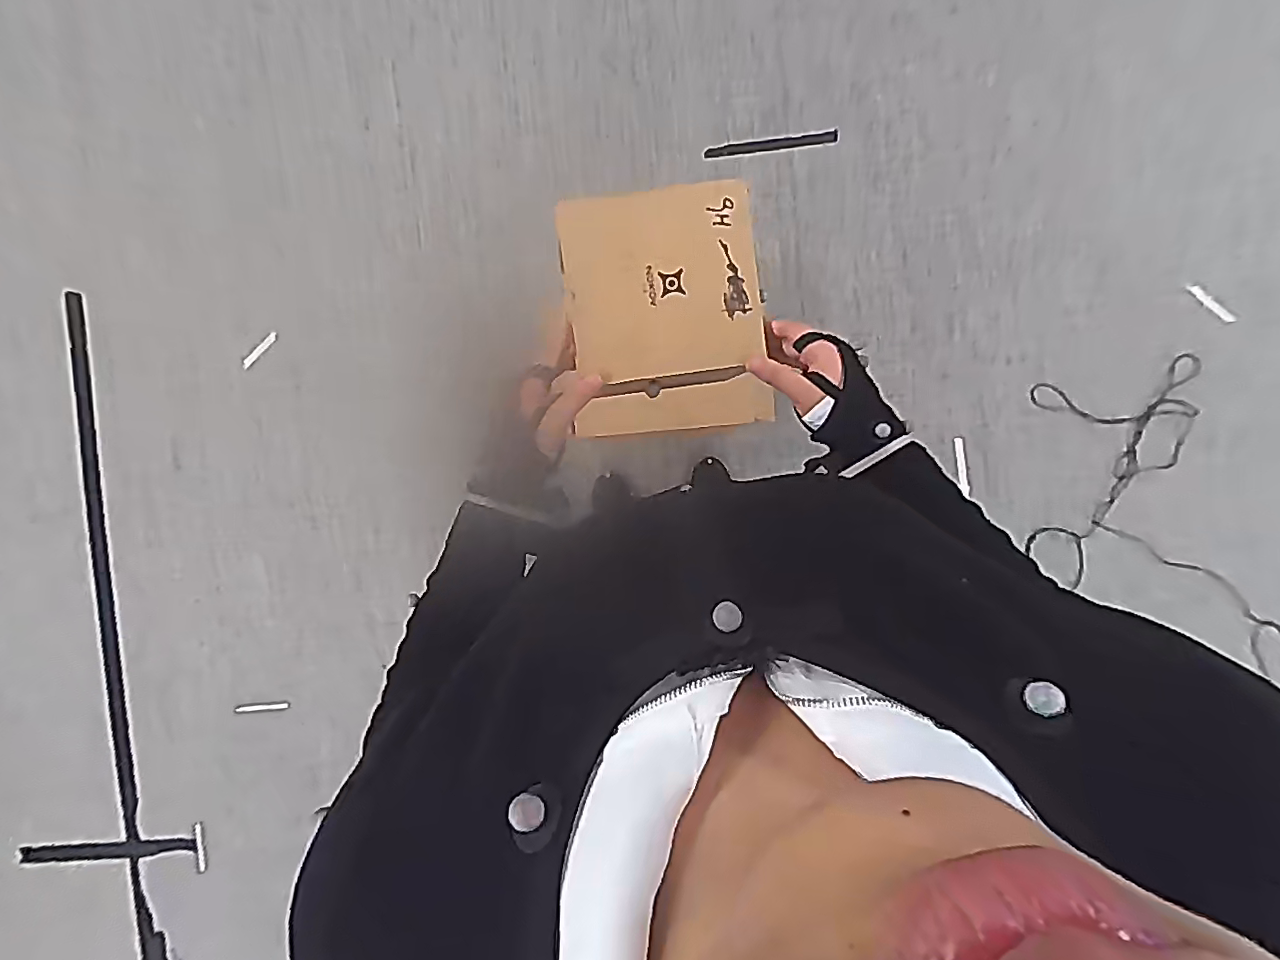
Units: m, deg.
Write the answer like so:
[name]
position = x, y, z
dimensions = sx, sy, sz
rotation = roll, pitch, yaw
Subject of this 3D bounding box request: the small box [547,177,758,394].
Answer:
[small box]
position = 0.010, -0.186, 0.567
dimensions = 0.179, 0.176, 0.168
rotation = -8, 95, -2
